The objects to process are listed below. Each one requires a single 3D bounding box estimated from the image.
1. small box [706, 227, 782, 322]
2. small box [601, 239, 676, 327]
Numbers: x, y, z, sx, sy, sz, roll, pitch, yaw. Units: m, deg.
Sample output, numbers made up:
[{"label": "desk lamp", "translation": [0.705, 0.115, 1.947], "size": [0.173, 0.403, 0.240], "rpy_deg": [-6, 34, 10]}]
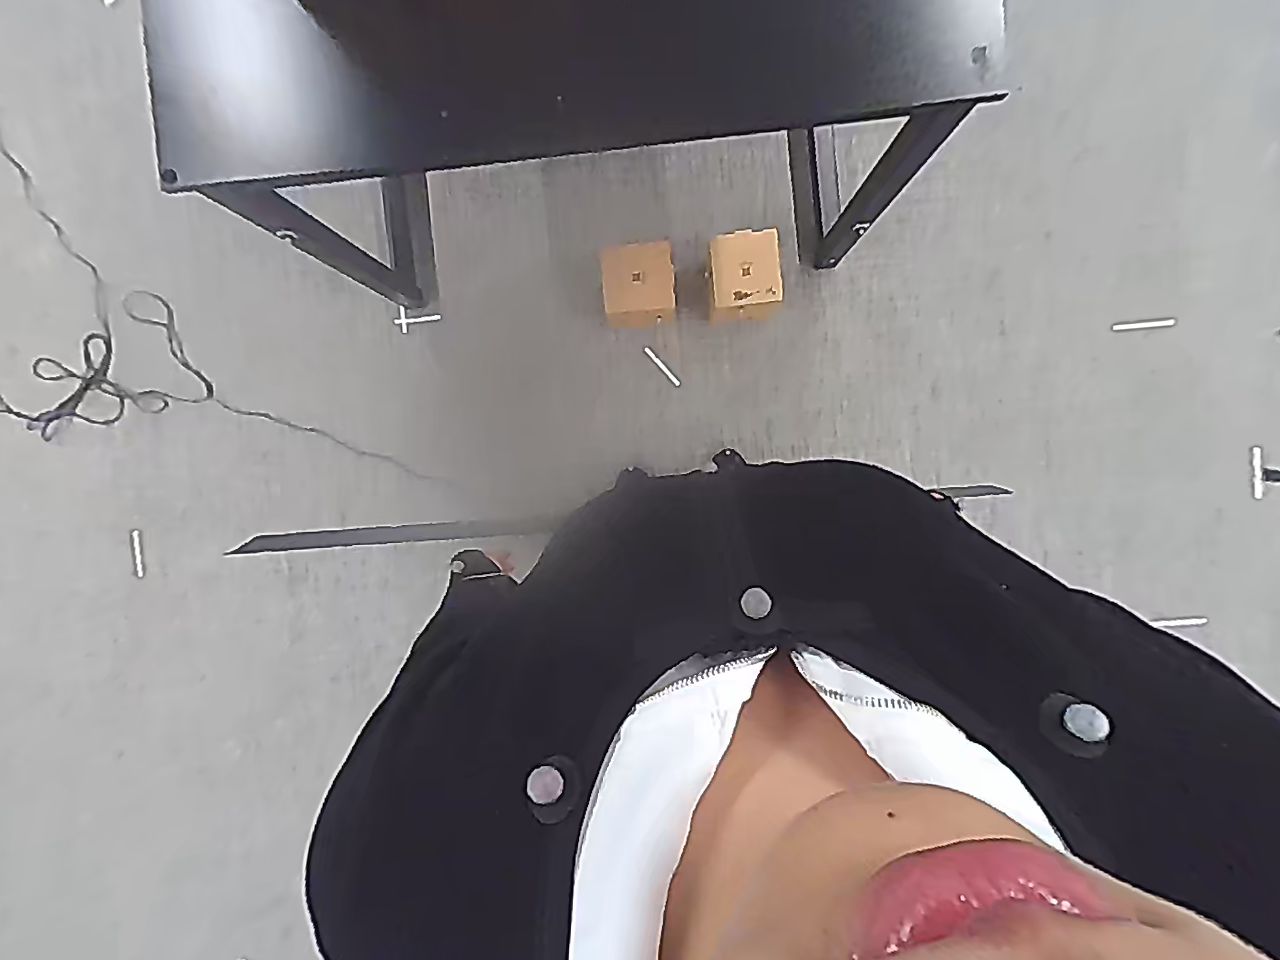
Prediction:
[{"label": "small box", "translation": [0.261, -0.521, 1.389], "size": [0.168, 0.176, 0.179], "rpy_deg": [-6, 92, 4]}, {"label": "small box", "translation": [-0.001, -0.504, 1.406], "size": [0.179, 0.176, 0.168], "rpy_deg": [-5, 92, 4]}]
